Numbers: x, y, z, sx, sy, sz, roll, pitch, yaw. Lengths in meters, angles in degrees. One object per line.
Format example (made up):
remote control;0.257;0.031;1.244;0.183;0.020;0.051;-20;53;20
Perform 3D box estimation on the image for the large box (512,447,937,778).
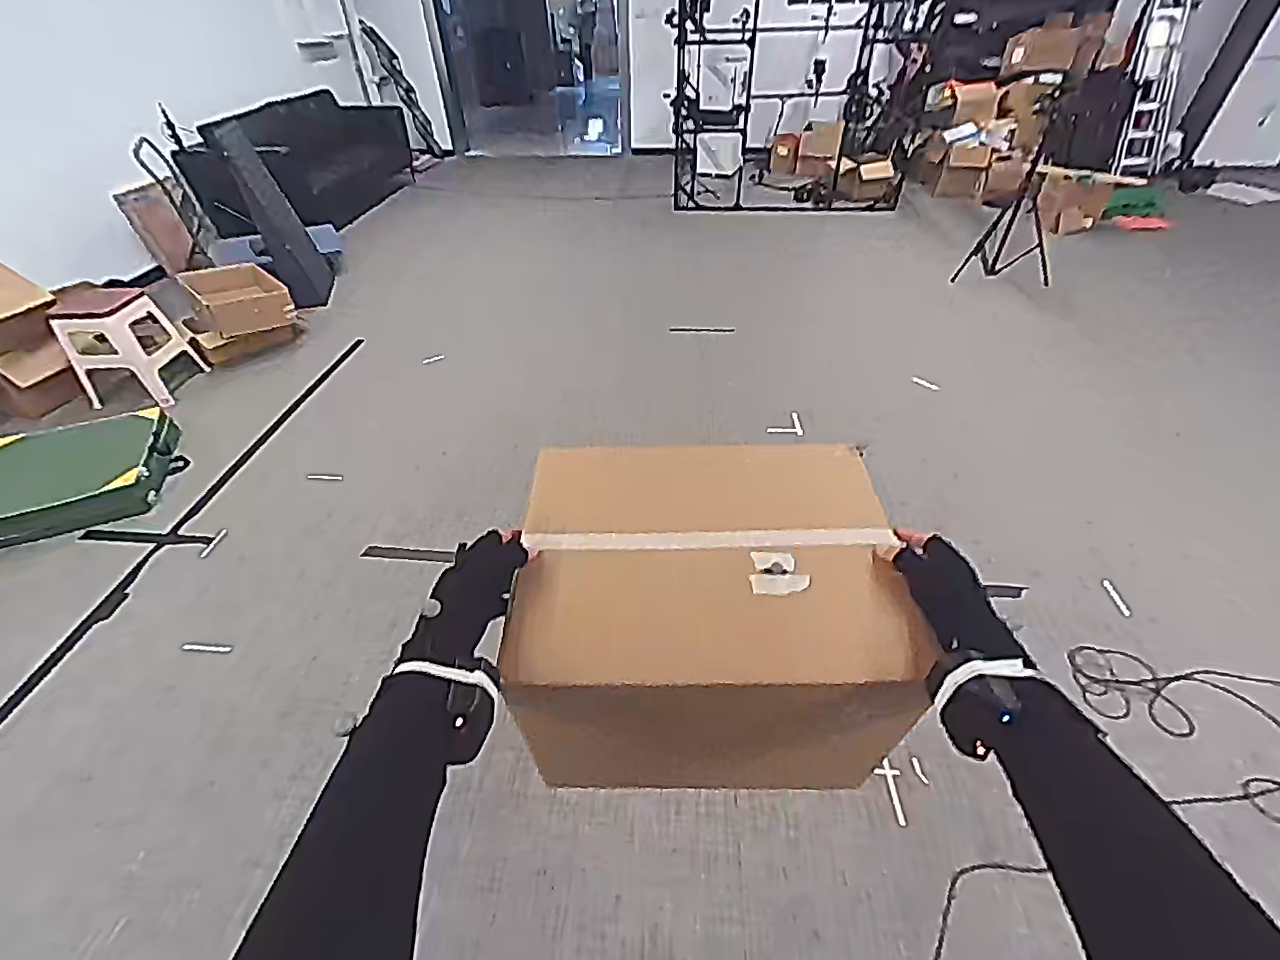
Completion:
large box;0.078;0.173;0.706;0.408;0.320;0.320;0;46;1
